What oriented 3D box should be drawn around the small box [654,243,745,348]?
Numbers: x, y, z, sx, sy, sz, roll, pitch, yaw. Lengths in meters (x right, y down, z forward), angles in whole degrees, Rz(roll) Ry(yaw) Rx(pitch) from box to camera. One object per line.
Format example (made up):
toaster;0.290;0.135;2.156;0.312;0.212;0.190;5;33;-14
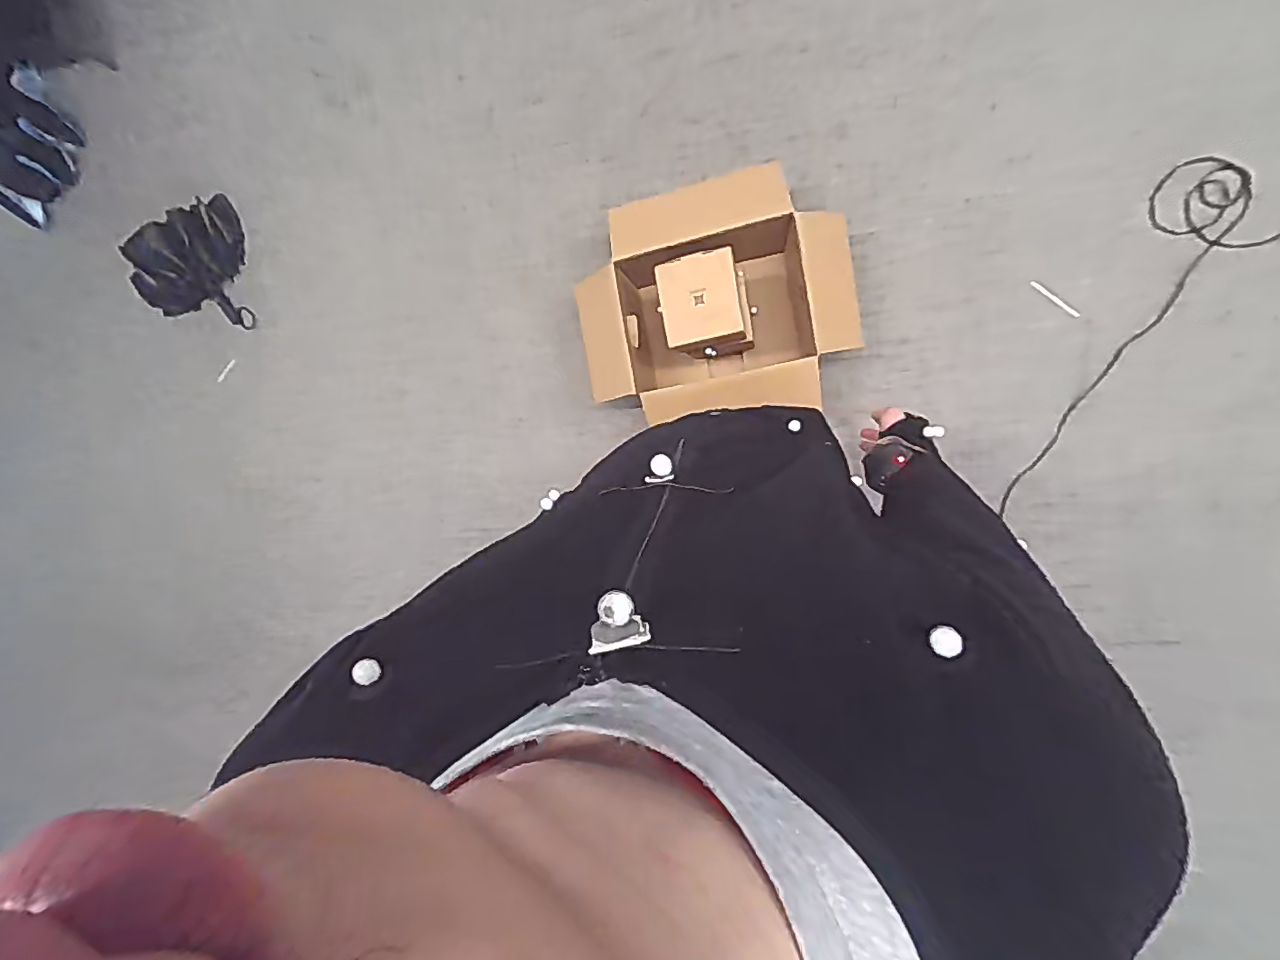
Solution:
small box;0.139;-0.404;1.214;0.168;0.176;0.179;-9;97;15
